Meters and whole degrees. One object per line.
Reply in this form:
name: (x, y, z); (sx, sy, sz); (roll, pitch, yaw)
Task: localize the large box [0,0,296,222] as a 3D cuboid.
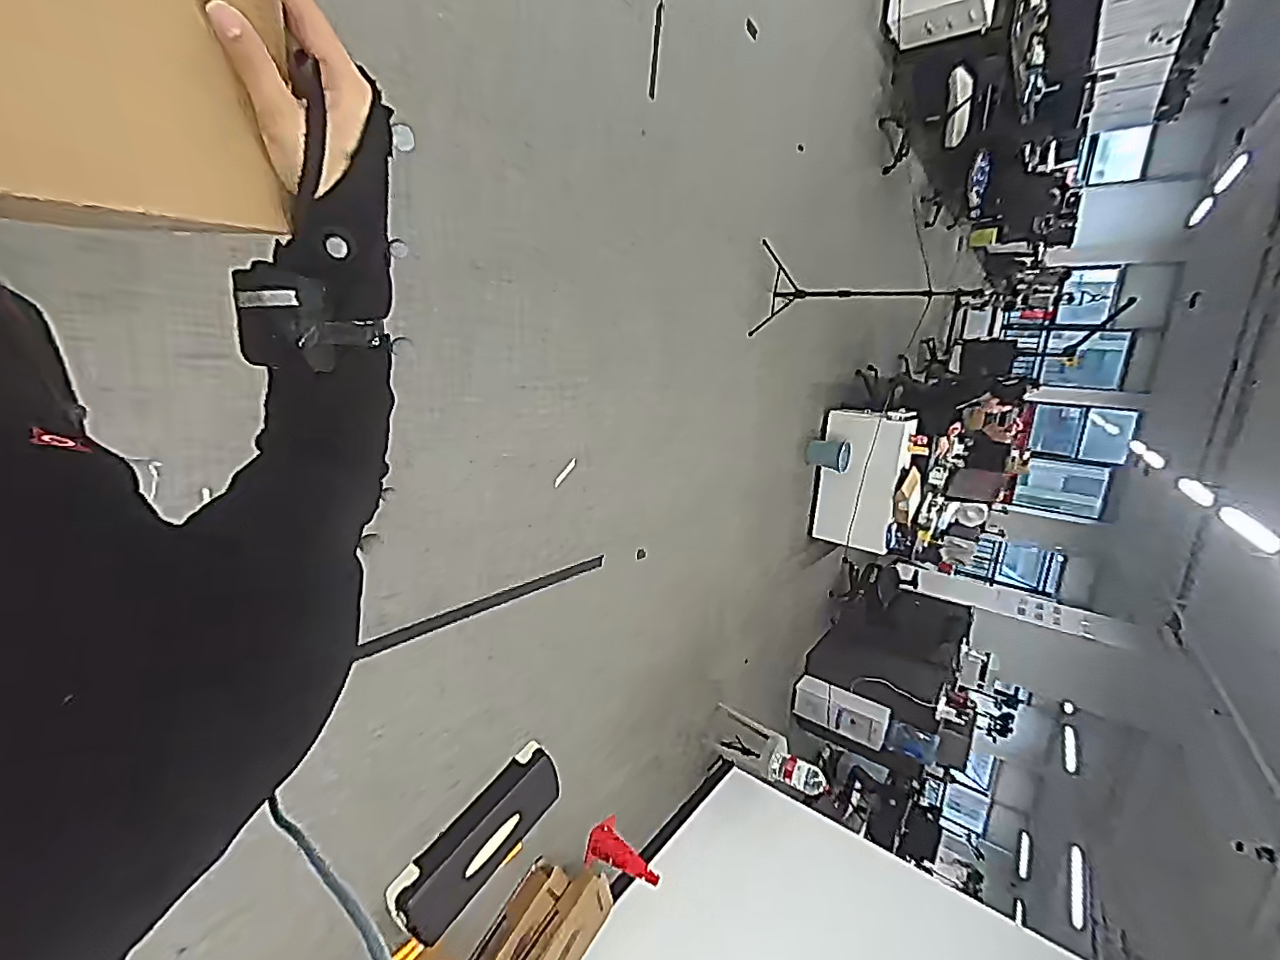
large box: (-0.439, -0.295, 0.209); (0.408, 0.320, 0.320); (-23, 124, -55)
